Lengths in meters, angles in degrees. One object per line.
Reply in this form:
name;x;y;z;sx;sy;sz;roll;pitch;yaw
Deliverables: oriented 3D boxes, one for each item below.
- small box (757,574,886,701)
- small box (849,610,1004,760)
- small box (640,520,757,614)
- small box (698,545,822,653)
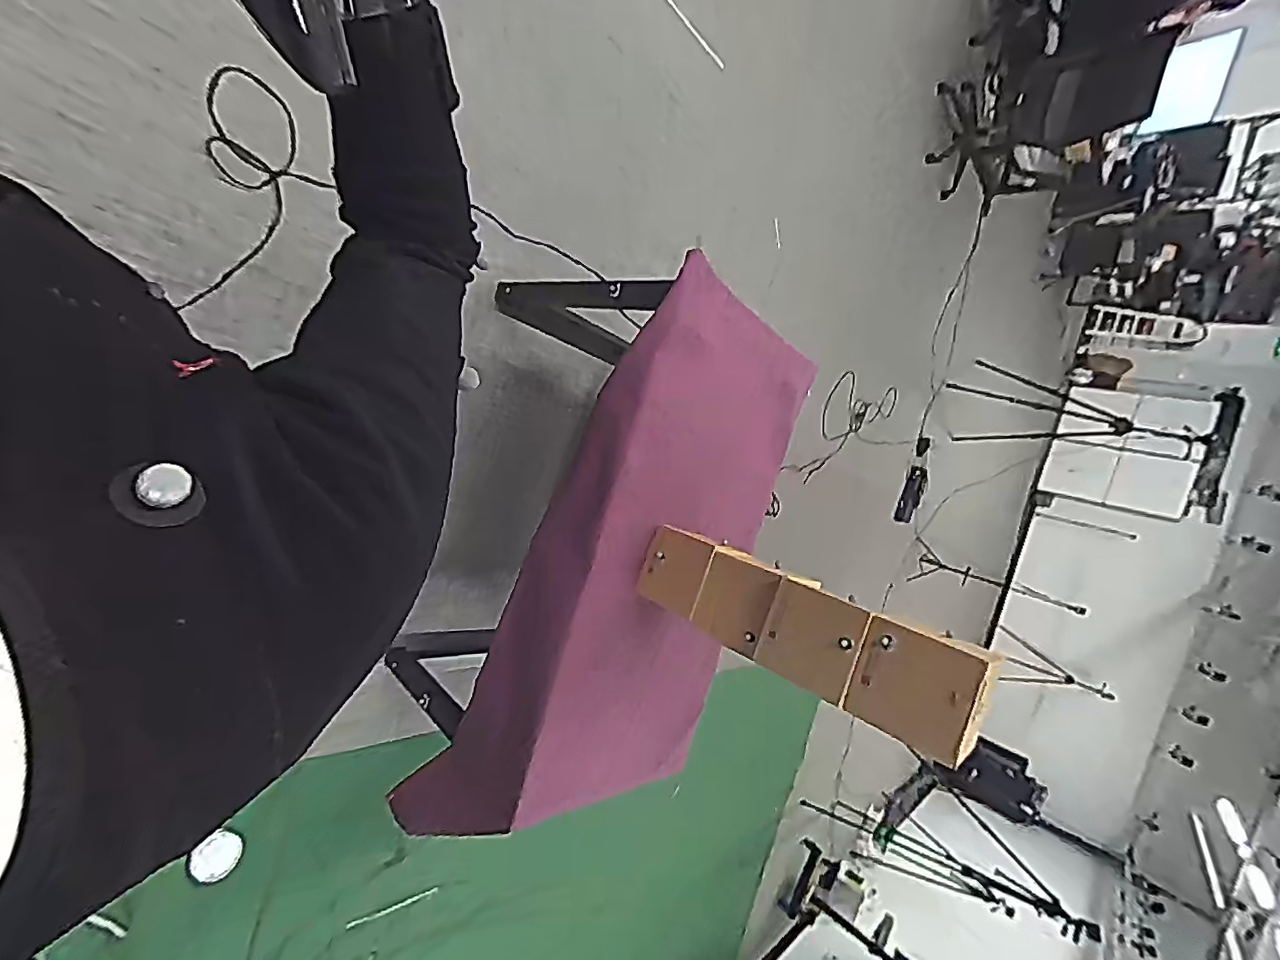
small box;0.343;0.282;0.990;0.179;0.176;0.168;23;87;-49
small box;0.469;0.323;0.890;0.179;0.176;0.168;17;92;-49
small box;0.132;0.199;1.223;0.179;0.176;0.168;21;88;-47
small box;0.244;0.246;1.117;0.168;0.176;0.179;19;90;-48
